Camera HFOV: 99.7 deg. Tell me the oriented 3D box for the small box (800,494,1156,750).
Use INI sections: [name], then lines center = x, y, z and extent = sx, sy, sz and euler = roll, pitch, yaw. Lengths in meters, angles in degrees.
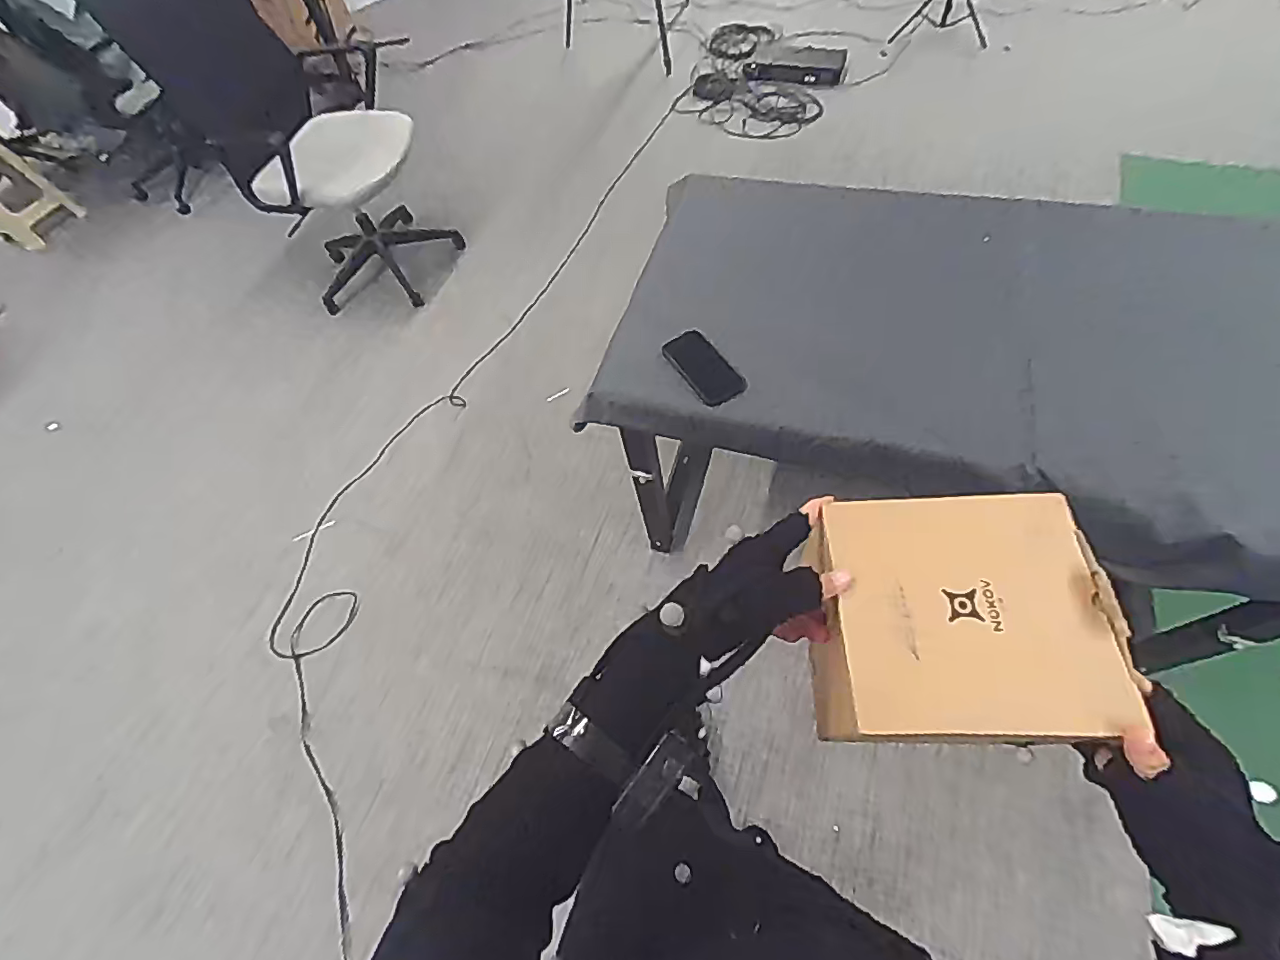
[small box]
center = 0.237, 0.123, 0.440
extent = 0.179, 0.176, 0.168
euler = -4, 61, 8
